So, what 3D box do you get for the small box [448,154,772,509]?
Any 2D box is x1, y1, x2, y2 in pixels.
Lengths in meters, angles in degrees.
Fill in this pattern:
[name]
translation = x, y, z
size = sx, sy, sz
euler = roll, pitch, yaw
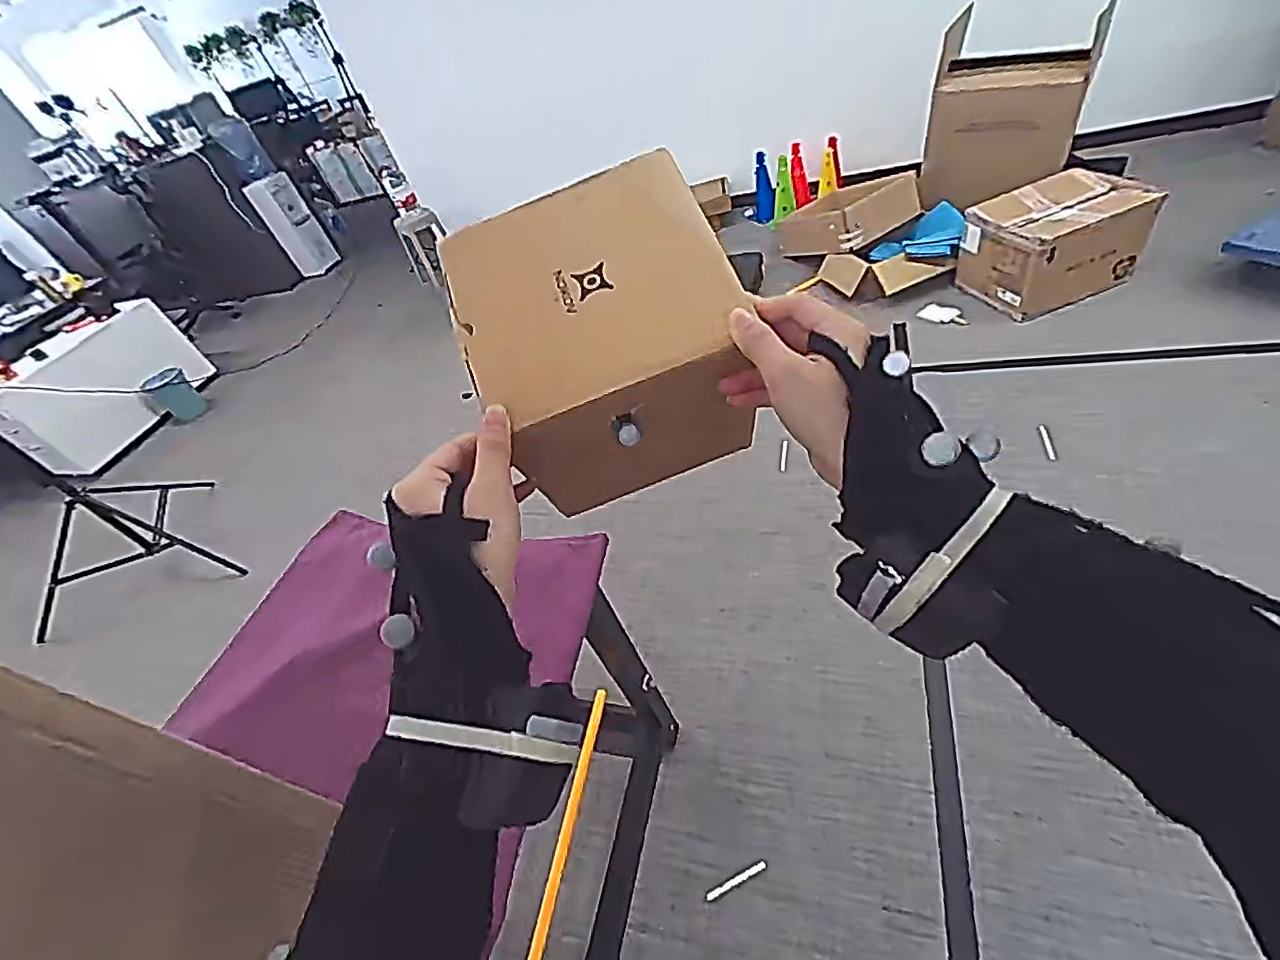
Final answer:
[small box]
translation = -0.016, -0.097, 0.420
size = 0.179, 0.176, 0.168
euler = -21, 69, 2
